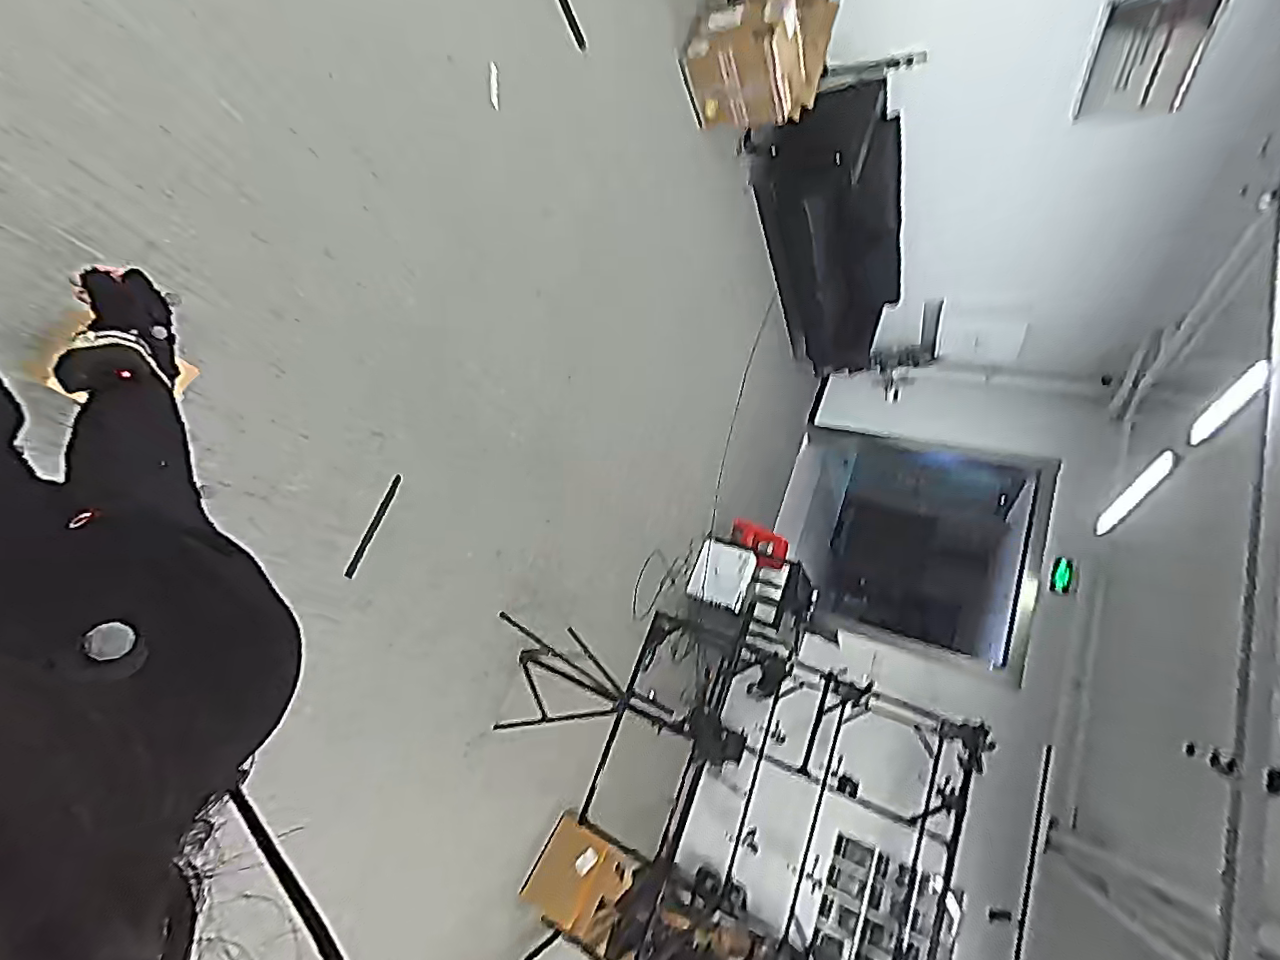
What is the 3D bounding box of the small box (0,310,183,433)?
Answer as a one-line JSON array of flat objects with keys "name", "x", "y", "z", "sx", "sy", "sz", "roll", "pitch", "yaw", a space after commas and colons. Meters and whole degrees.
[{"name": "small box", "x": -1.091, "y": -0.221, "z": 1.079, "sx": 0.168, "sy": 0.176, "sz": 0.179, "roll": -65, "pitch": 151, "yaw": -20}]
